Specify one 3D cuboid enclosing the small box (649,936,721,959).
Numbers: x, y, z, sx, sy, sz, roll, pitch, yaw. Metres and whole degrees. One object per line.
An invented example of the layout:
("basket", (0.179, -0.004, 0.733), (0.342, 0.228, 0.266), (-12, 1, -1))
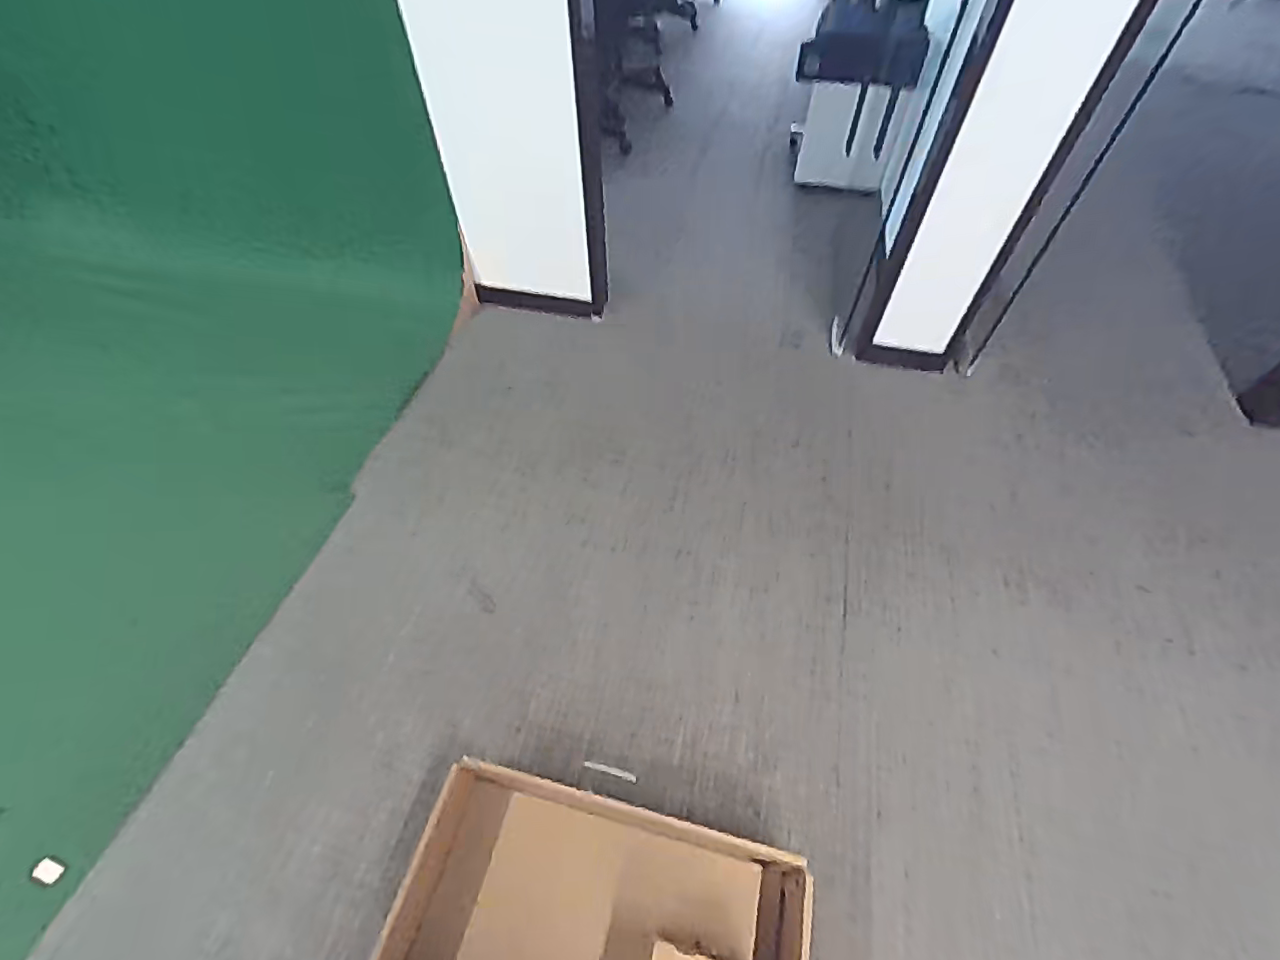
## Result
("small box", (0.077, 0.798, 0.779), (0.168, 0.176, 0.179), (14, 53, 11))
